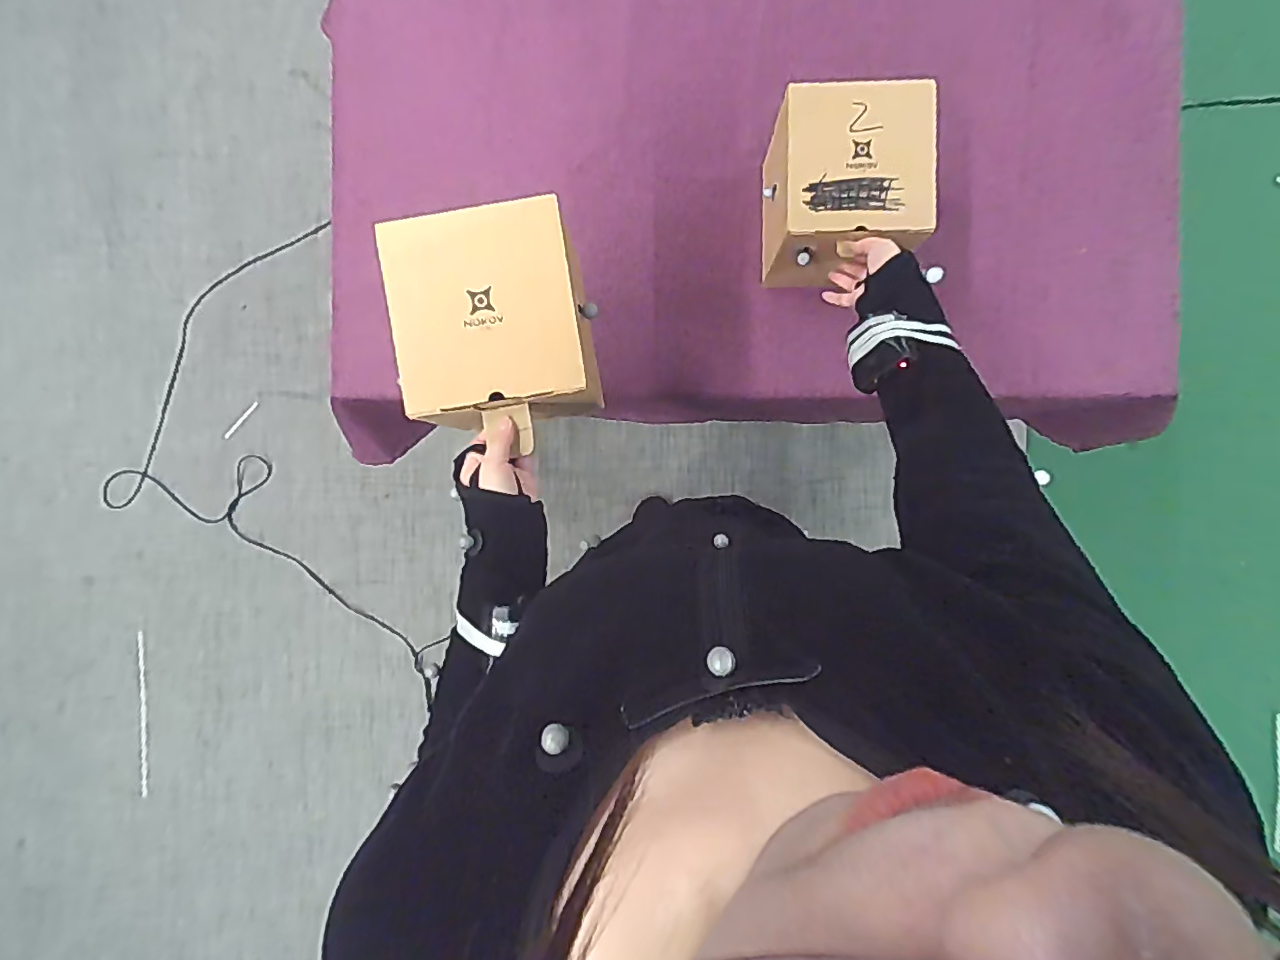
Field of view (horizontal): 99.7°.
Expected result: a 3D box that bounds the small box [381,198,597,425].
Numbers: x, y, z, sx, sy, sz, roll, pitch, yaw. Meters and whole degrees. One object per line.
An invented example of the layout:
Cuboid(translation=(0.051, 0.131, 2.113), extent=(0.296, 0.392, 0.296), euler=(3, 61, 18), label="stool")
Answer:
Cuboid(translation=(-0.144, -0.161, 0.572), extent=(0.168, 0.176, 0.179), euler=(-9, 92, 1), label="small box")
